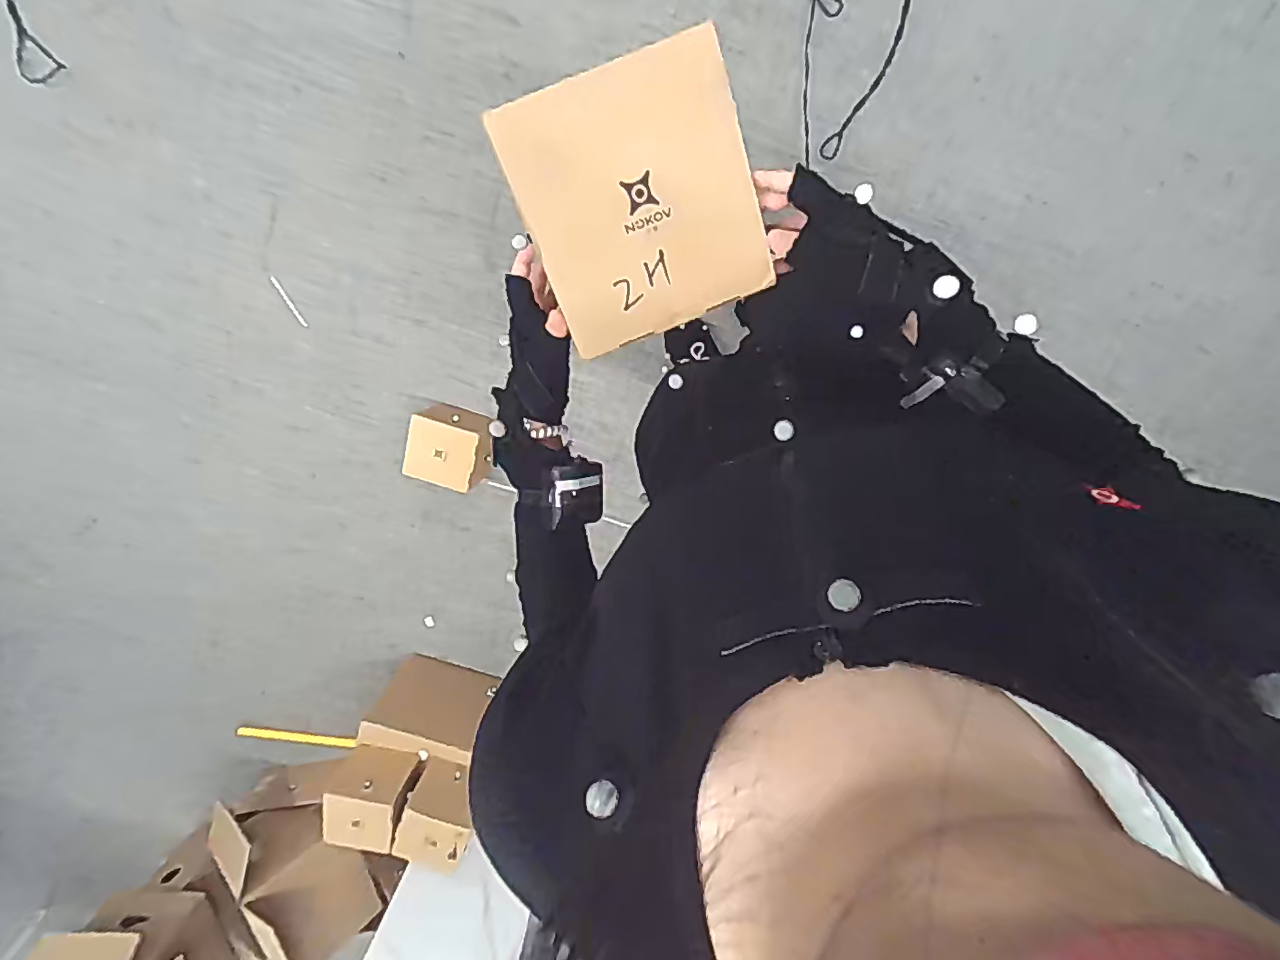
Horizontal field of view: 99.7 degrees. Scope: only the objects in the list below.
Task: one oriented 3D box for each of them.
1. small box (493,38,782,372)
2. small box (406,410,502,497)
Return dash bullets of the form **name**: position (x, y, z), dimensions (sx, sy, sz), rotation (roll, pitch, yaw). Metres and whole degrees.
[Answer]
- **small box**: position (-0.006, -0.213, 0.455), dimensions (0.168, 0.176, 0.179), rotation (-22, 113, 1)
- **small box**: position (-0.487, -0.078, 1.429), dimensions (0.179, 0.176, 0.168), rotation (17, 108, -3)
